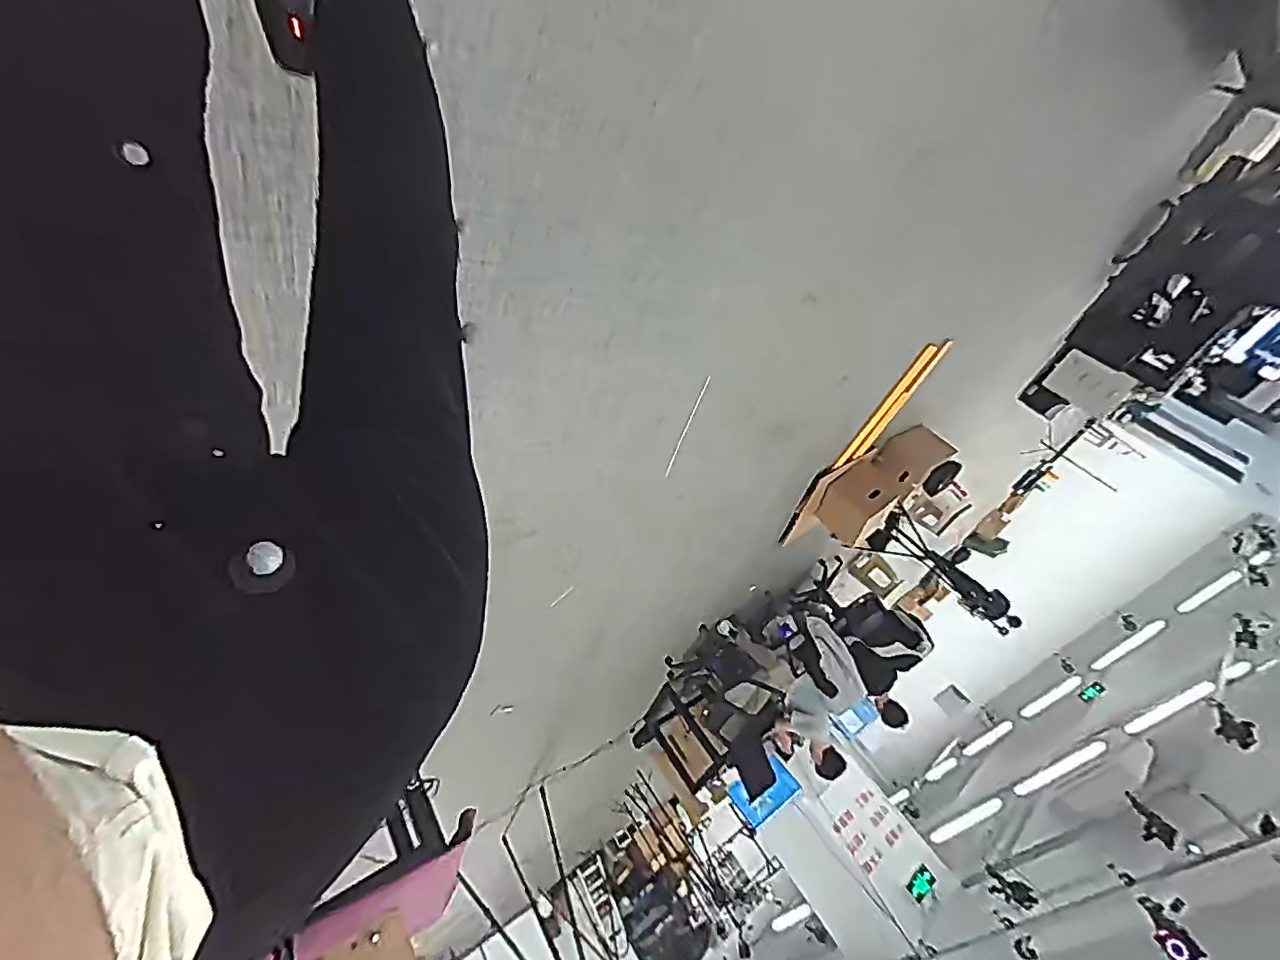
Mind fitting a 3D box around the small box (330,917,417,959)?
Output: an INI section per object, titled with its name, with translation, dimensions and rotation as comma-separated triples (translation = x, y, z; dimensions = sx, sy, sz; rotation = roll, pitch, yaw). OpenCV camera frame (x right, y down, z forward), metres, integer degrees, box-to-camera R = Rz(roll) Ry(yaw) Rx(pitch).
[small box]
translation = -0.601, 1.149, 1.232
dimensions = 0.168, 0.176, 0.179
rotation = -15, 139, -38
